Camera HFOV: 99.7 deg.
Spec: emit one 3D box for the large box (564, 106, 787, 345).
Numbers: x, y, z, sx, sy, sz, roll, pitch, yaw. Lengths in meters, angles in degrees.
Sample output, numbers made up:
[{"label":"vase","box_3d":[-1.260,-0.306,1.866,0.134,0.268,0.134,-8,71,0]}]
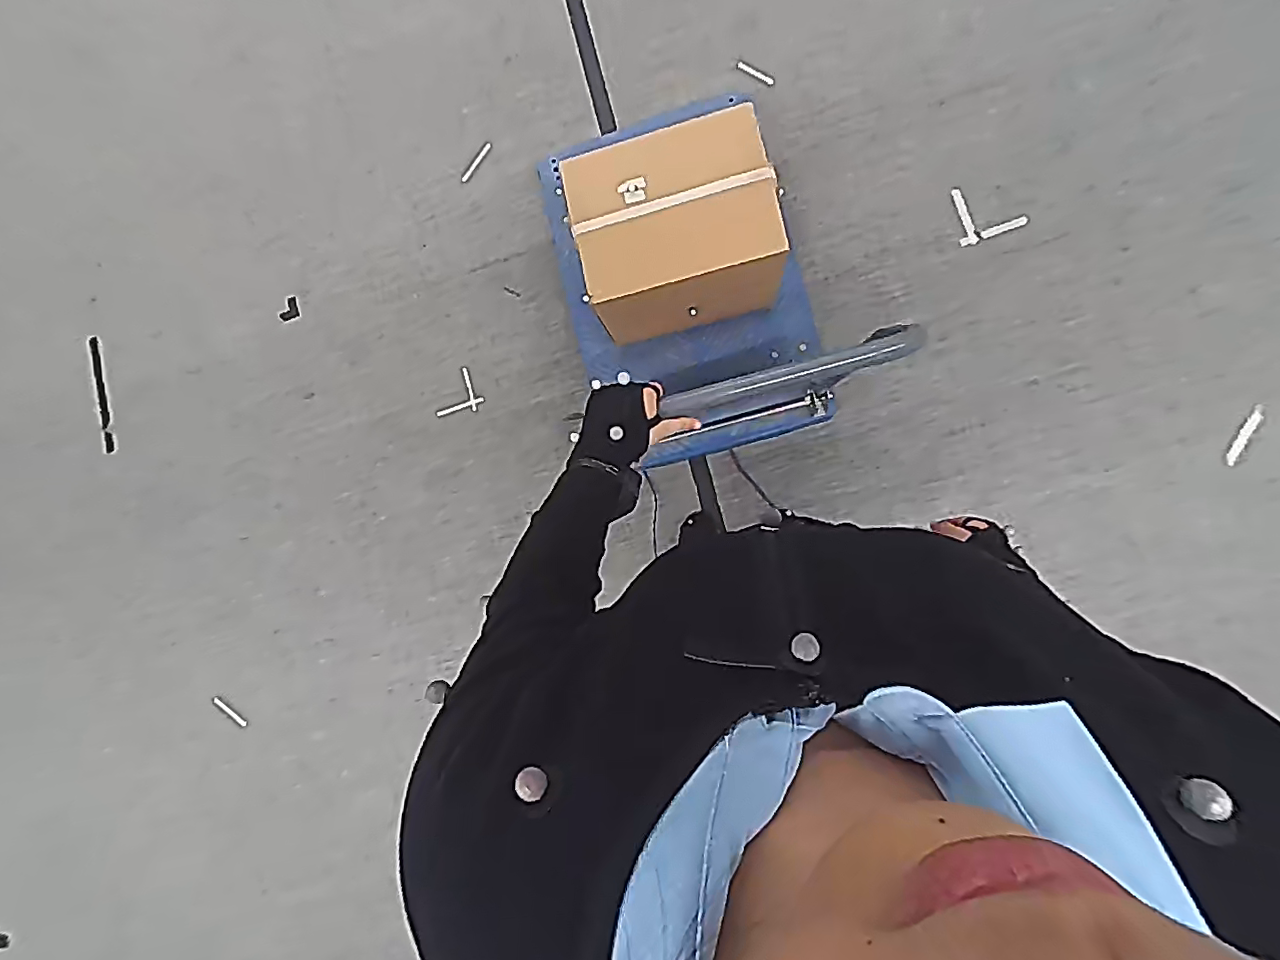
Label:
[{"label":"large box","box_3d":[0.087,-0.544,1.235,0.408,0.320,0.320,-13,85,8]}]
